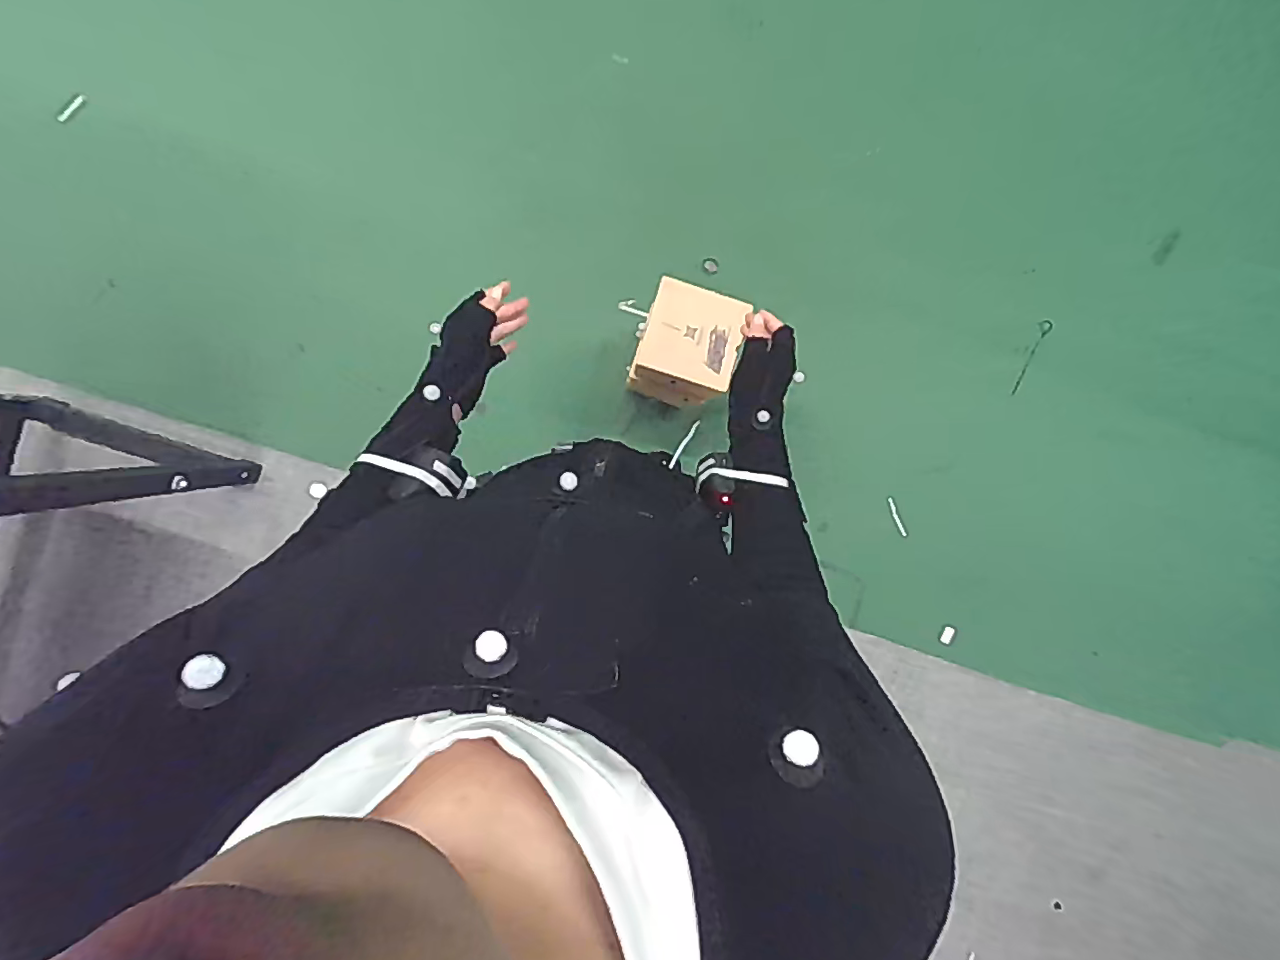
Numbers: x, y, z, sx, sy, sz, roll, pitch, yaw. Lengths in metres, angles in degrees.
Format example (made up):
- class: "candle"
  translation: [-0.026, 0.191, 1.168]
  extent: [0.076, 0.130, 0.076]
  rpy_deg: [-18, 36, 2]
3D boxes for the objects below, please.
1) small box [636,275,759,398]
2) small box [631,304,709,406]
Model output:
- class: "small box"
  translation: [0.101, -0.265, 1.046]
  extent: [0.179, 0.176, 0.168]
  rpy_deg: [21, 92, -4]
- class: "small box"
  translation: [0.085, -0.270, 1.212]
  extent: [0.179, 0.176, 0.168]
  rpy_deg: [19, 94, -4]
